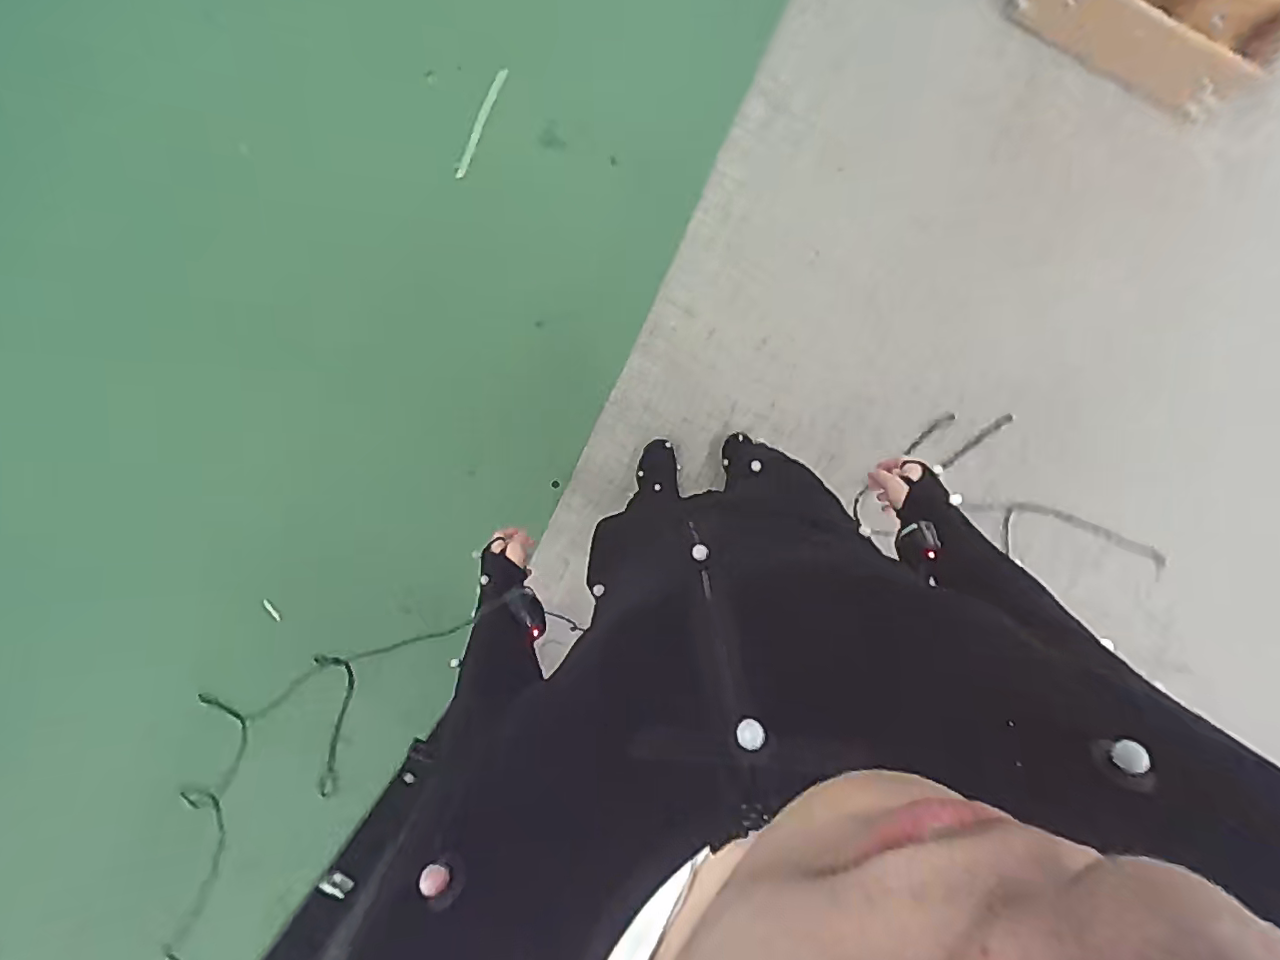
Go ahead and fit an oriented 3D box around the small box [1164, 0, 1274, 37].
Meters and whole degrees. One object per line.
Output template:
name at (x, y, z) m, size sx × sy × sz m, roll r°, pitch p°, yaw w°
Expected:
small box at (1.434, -1.222, 1.304) m, size 0.168 × 0.176 × 0.179 m, roll 10°, pitch 97°, yaw 1°
